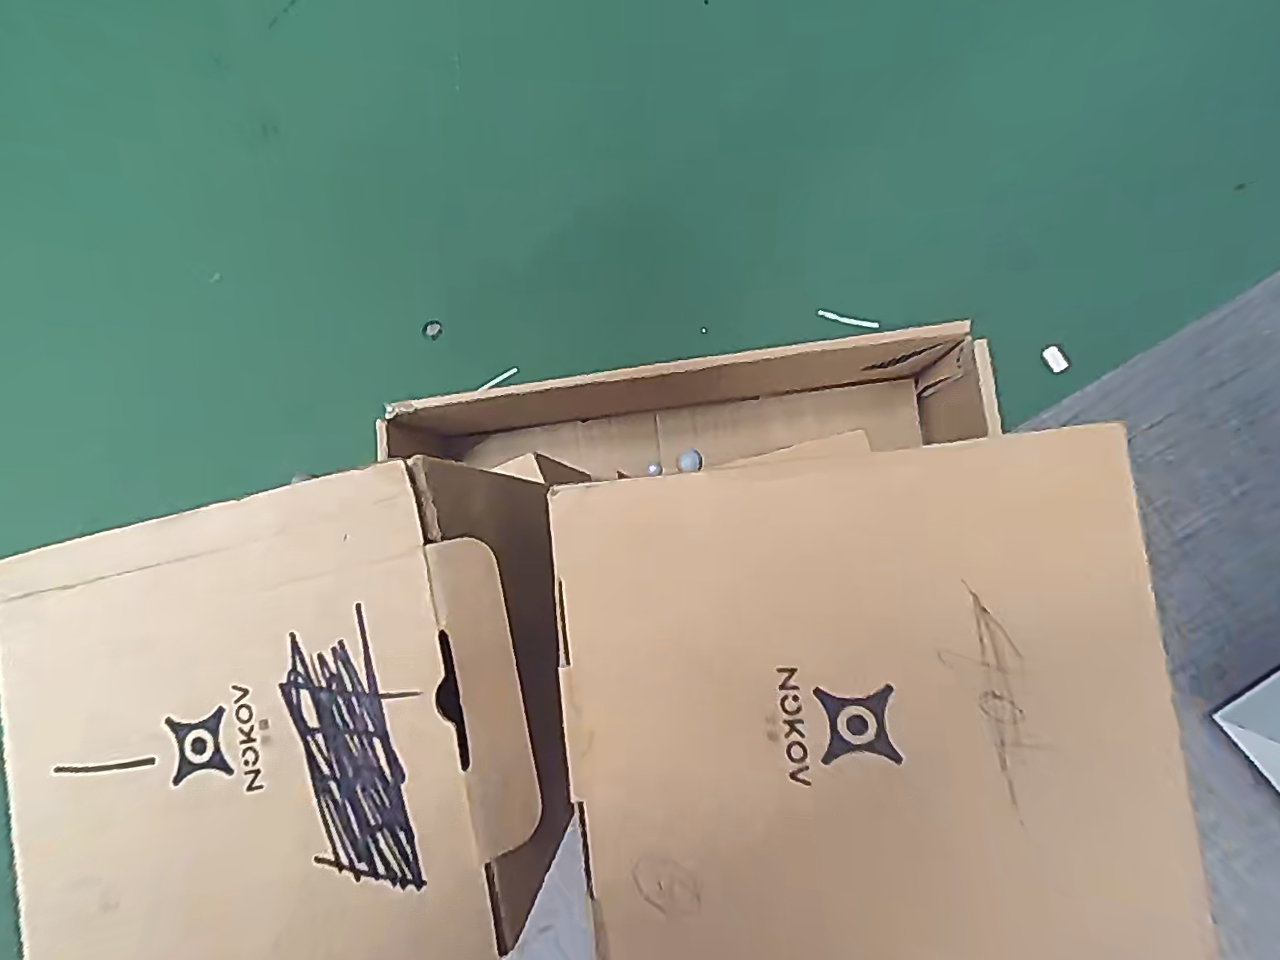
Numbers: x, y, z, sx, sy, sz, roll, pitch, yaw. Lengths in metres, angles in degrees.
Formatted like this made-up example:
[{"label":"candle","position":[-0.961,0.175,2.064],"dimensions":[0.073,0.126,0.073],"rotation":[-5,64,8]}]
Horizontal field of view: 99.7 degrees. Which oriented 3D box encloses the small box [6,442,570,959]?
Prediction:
[{"label":"small box","position":[-0.132,0.089,0.269],"dimensions":[0.179,0.176,0.168],"rotation":[-13,83,6]}]
